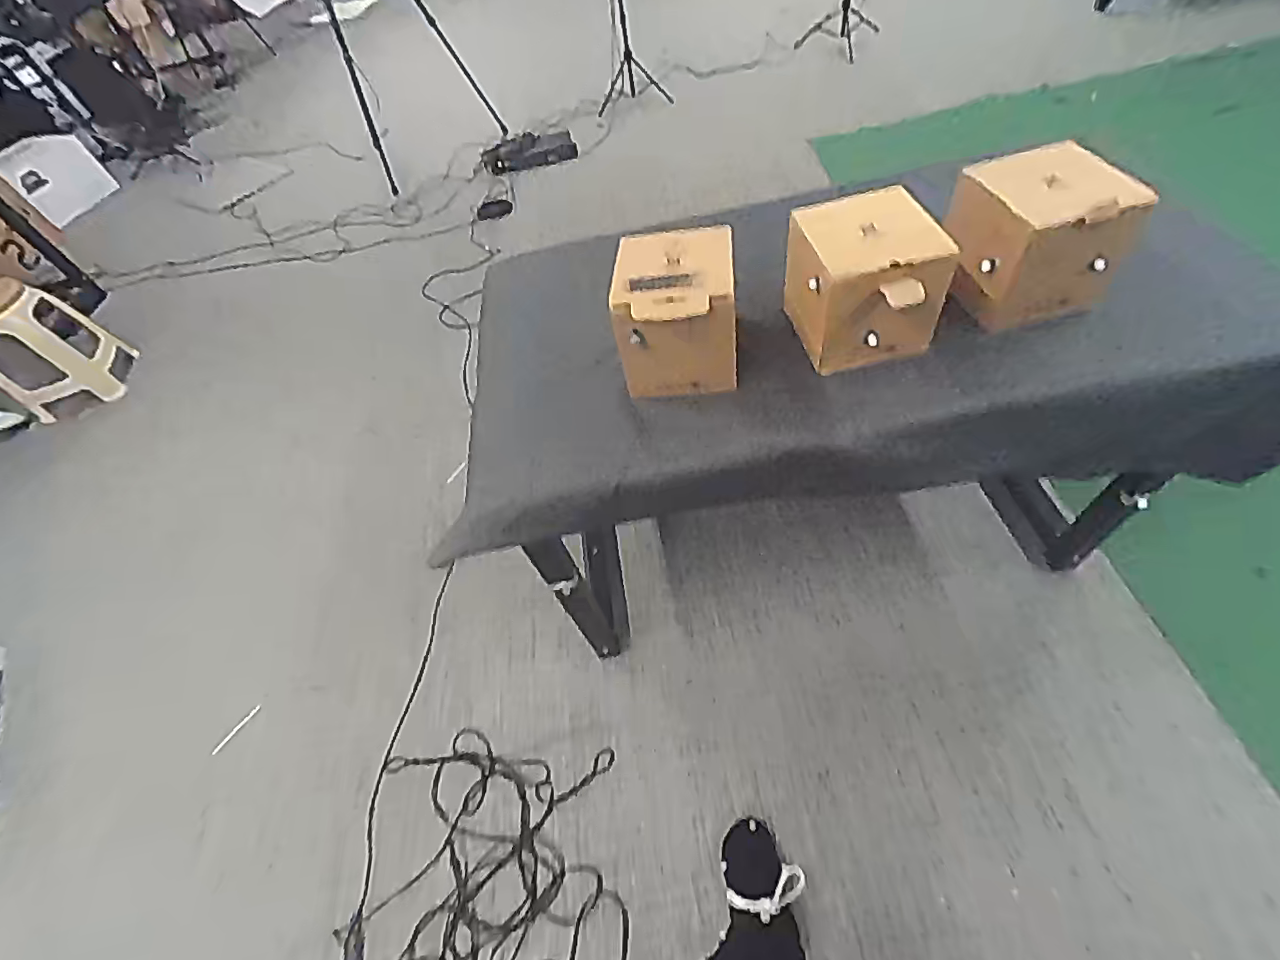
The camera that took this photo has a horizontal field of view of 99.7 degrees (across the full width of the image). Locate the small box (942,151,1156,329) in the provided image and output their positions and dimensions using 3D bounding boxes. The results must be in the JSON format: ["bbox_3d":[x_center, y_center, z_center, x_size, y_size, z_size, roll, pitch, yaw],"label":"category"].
[{"bbox_3d":[0.565,-0.341,0.790,0.168,0.176,0.179,-14,52,-1],"label":"small box"}]

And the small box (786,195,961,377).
[{"bbox_3d":[0.321,-0.280,0.791,0.168,0.176,0.179,-12,53,1],"label":"small box"}]
